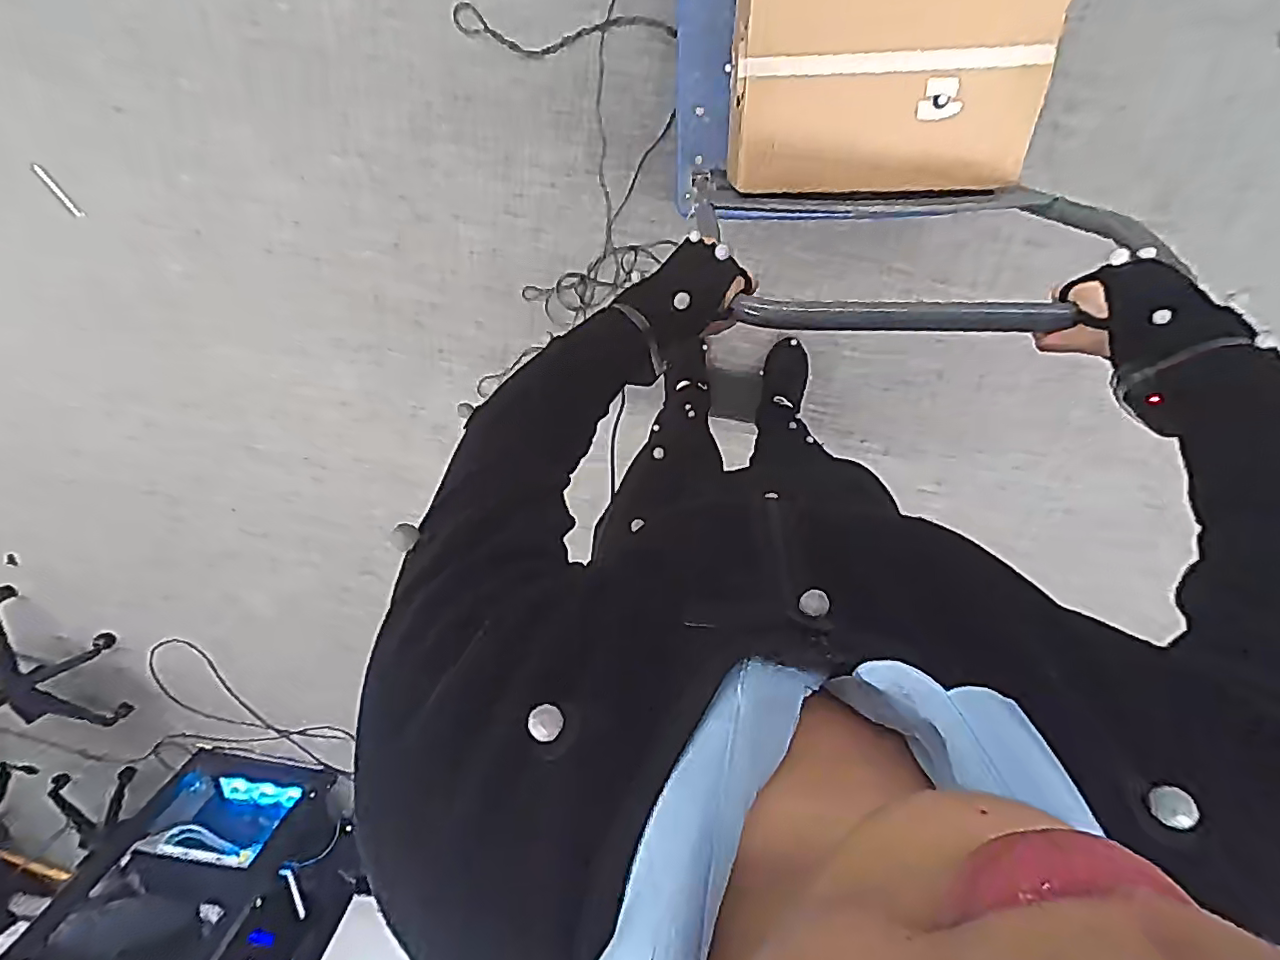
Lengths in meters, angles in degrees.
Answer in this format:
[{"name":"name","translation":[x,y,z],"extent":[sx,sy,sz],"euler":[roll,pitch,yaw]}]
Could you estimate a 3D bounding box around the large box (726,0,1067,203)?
[{"name":"large box","translation":[0.352,-0.631,0.859],"extent":[0.408,0.320,0.320],"euler":[1,122,4]}]
